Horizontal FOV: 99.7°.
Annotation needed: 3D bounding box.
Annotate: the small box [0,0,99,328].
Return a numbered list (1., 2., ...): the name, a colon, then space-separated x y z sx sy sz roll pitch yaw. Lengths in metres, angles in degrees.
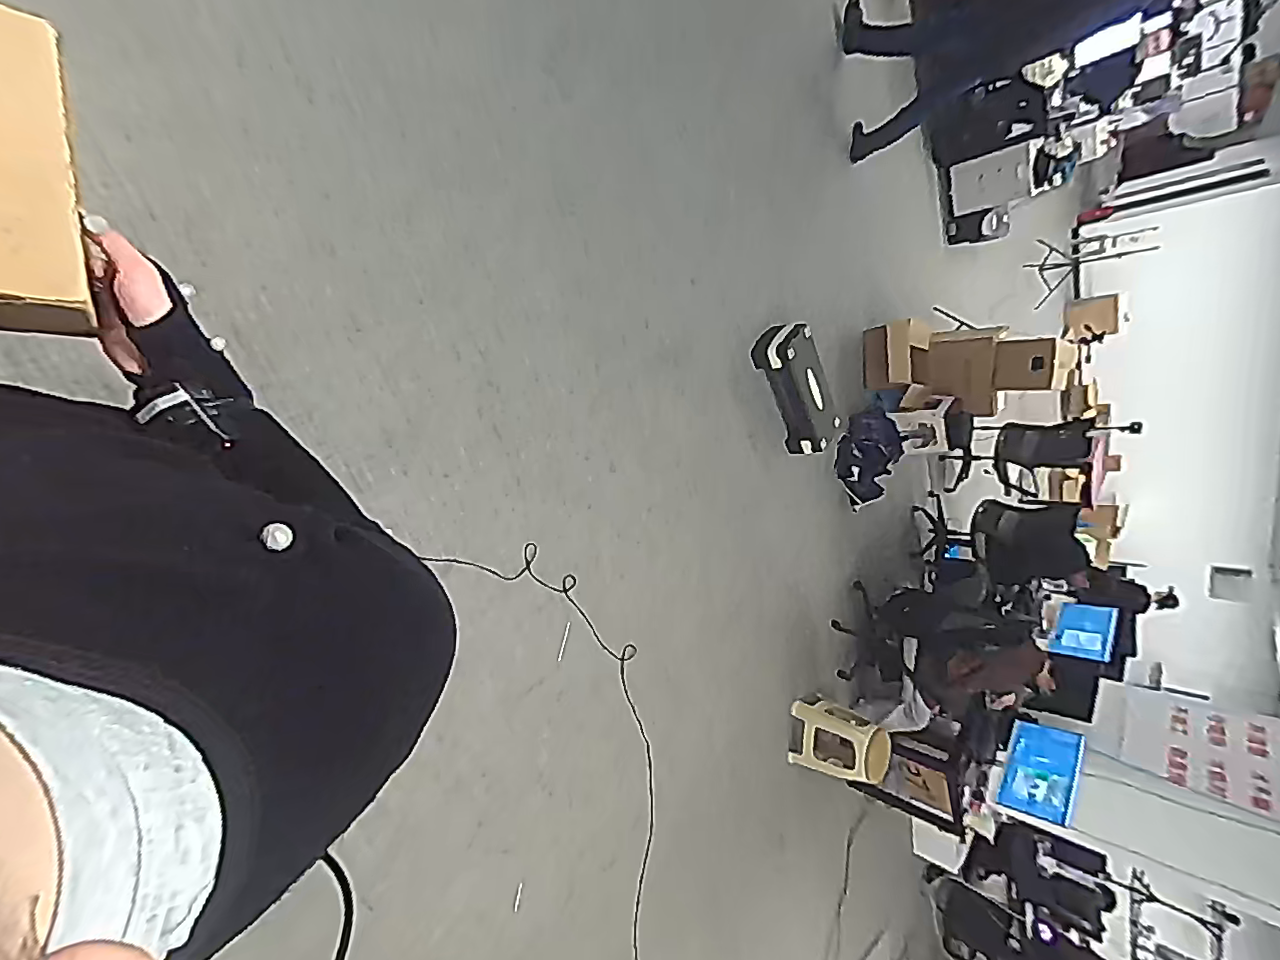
1. small box: -0.469 -0.198 0.342 0.168 0.176 0.179 -8 100 -44
